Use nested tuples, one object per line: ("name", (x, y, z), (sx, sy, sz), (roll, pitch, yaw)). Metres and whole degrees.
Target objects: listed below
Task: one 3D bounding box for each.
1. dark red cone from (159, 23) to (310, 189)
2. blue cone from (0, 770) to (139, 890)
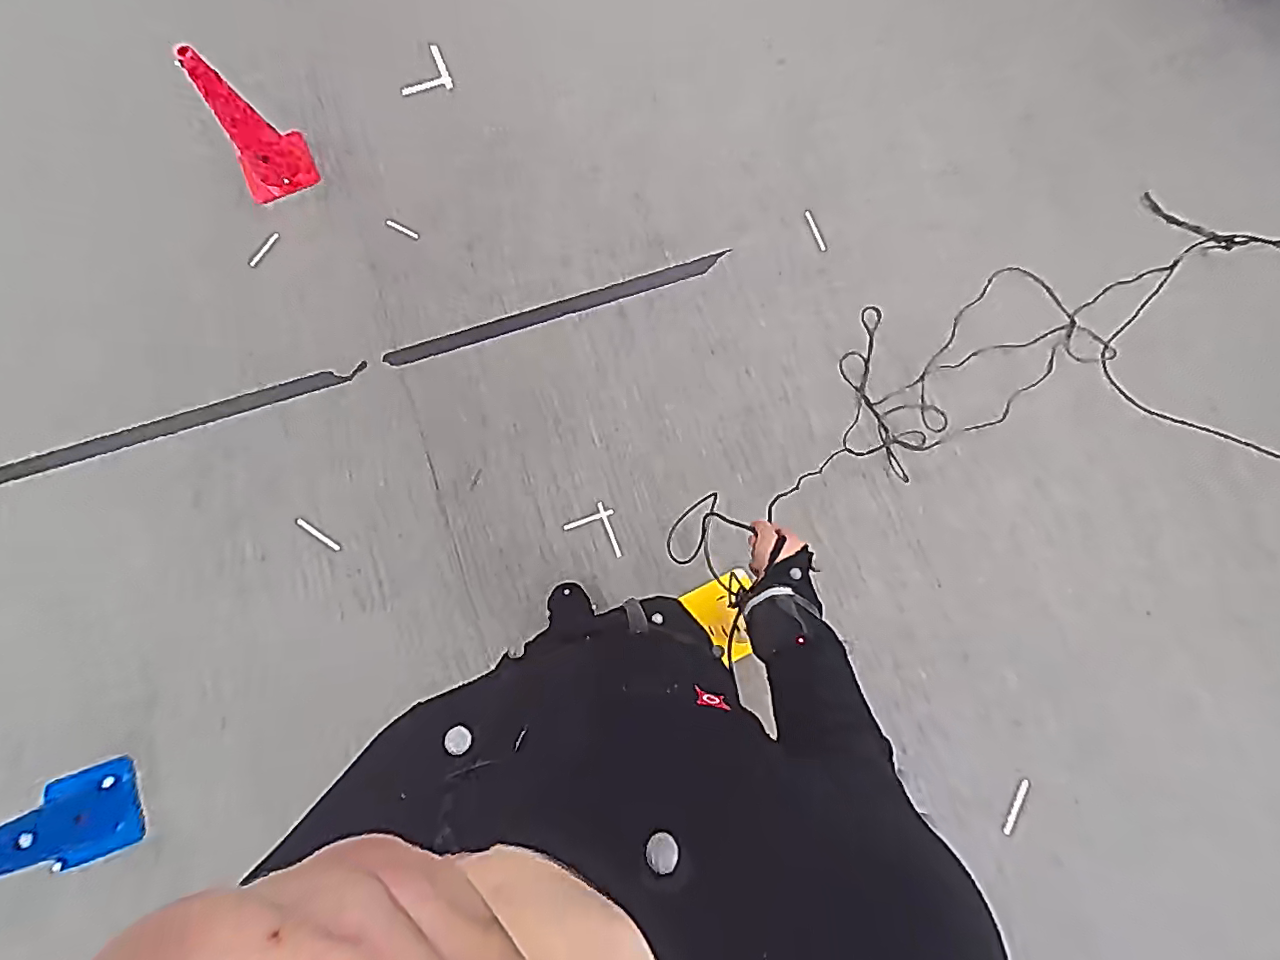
("dark red cone", (-1.066, -0.970, 1.396), (0.202, 0.394, 0.201), (-26, 81, -6))
("blue cone", (-1.252, 0.751, 1.075), (0.193, 0.380, 0.192), (-18, 81, -5))
